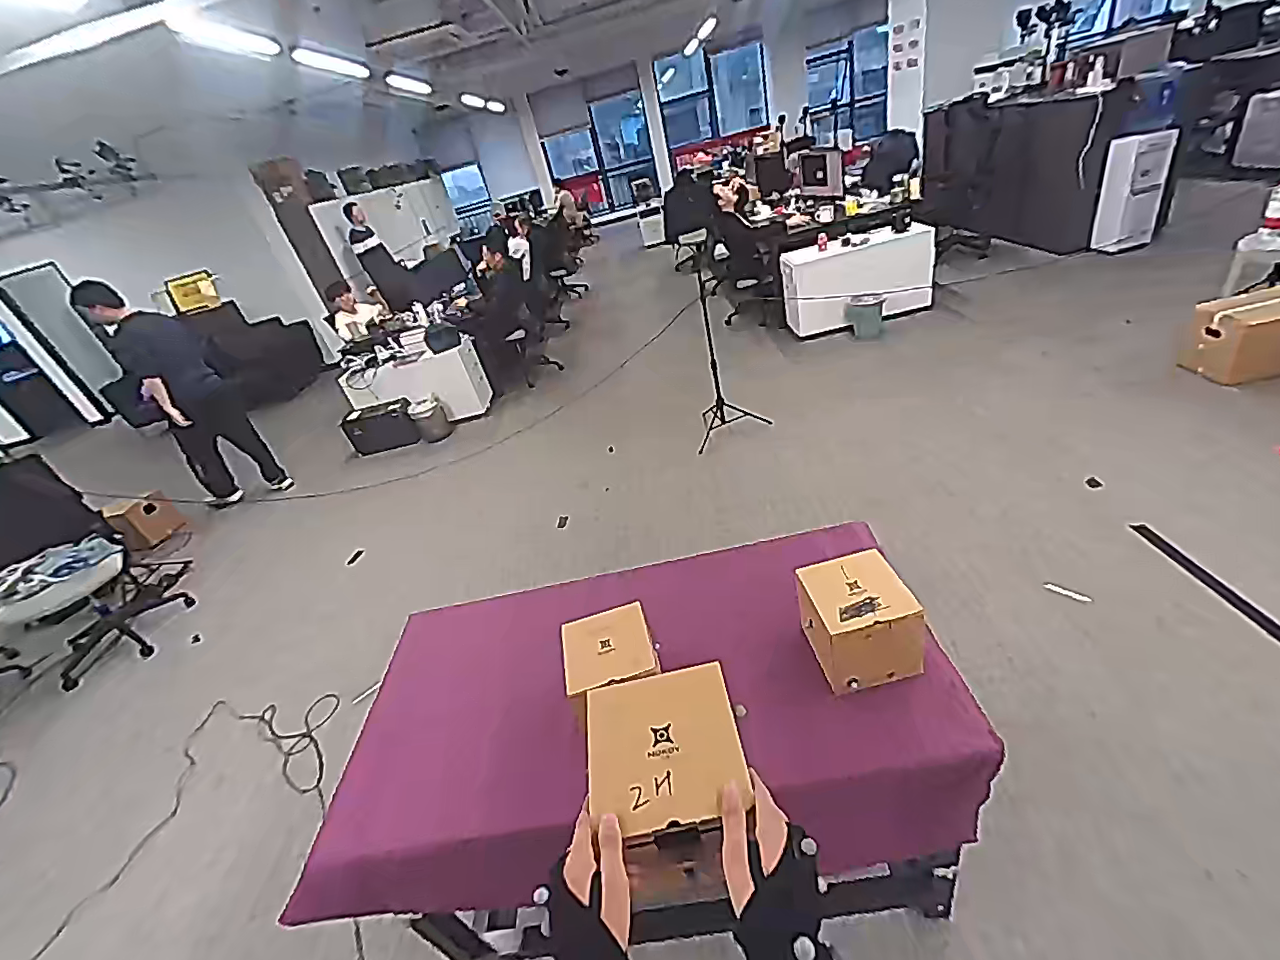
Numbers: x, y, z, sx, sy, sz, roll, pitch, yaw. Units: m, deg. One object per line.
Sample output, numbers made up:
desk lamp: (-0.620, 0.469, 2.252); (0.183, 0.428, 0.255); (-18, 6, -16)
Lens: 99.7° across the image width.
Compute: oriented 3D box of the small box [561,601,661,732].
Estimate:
small box: (-0.047, 0.375, 1.055); (0.168, 0.176, 0.179); (-16, 32, -2)

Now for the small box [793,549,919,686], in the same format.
small box: (0.405, 0.264, 1.023); (0.168, 0.176, 0.179); (-15, 31, 2)

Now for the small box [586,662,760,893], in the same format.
small box: (0.037, 0.348, 0.636); (0.168, 0.176, 0.179); (-13, 40, 3)
